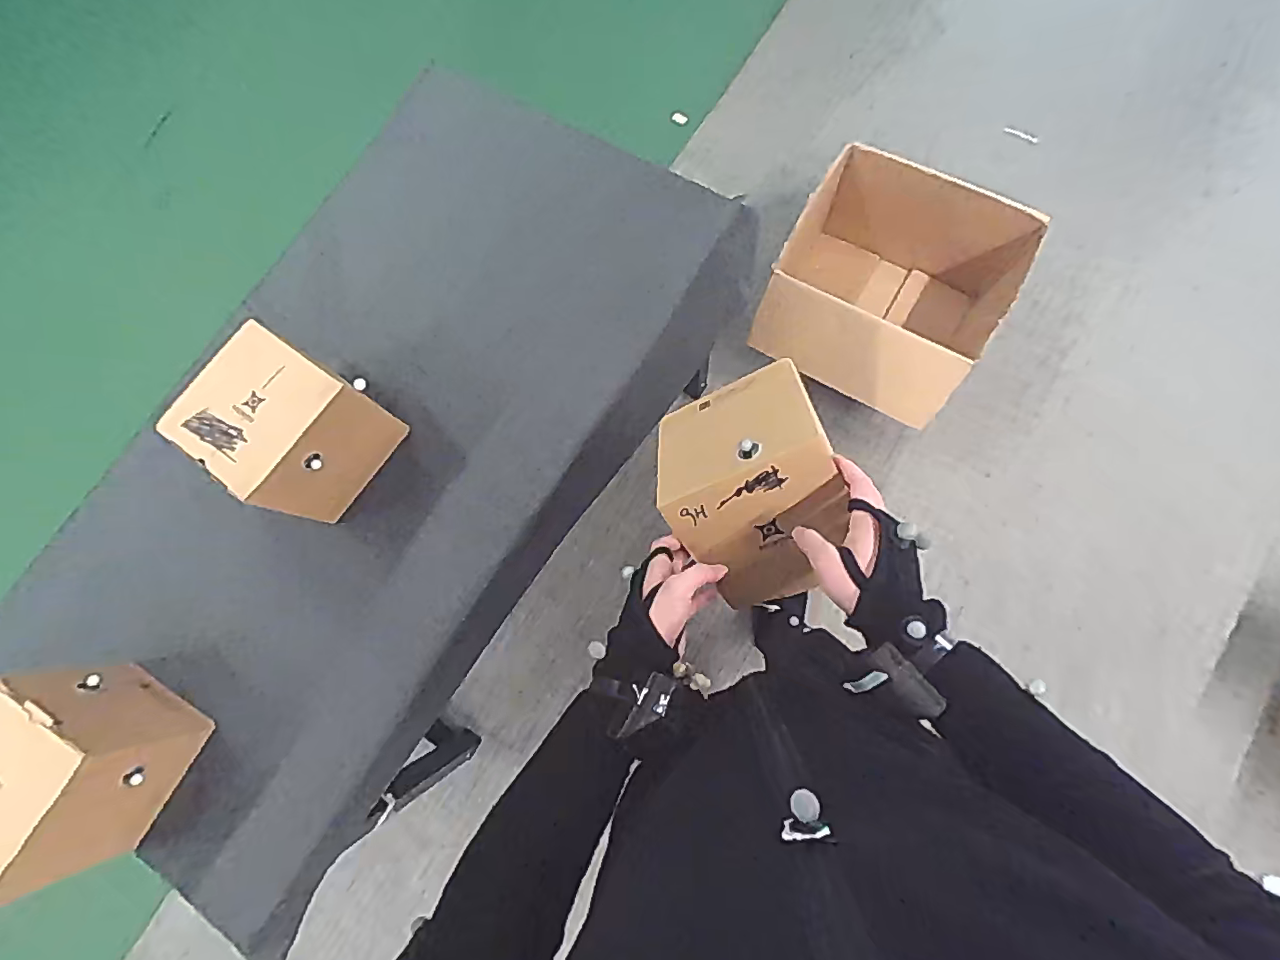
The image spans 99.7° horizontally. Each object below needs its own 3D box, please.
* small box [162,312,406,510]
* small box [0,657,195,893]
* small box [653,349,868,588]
[{"bbox_3d":[-0.456,-0.079,0.724,0.168,0.176,0.179,38,83,10],"label":"small box"},{"bbox_3d":[-0.687,0.329,0.638,0.168,0.176,0.179,28,82,11],"label":"small box"},{"bbox_3d":[0.132,-0.014,0.611,0.168,0.179,0.176,-25,31,22],"label":"small box"}]
